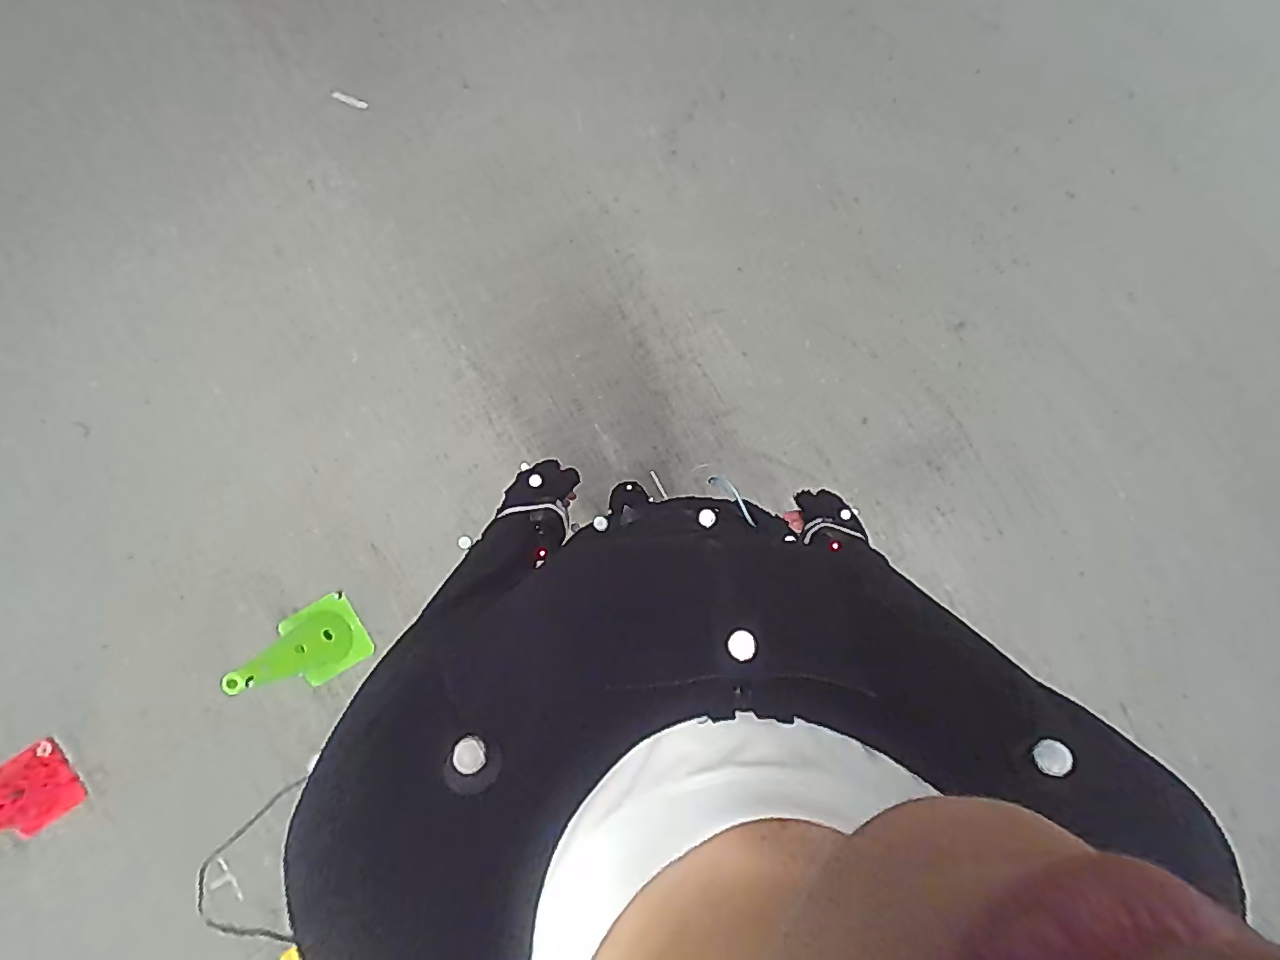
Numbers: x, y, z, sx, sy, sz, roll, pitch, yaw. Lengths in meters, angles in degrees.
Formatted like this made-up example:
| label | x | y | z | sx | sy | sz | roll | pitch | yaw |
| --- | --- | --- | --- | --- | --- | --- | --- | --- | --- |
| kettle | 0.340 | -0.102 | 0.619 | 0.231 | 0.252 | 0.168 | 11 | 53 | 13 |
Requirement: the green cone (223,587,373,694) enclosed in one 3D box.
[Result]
| label | x | y | z | sx | sy | sz | roll | pitch | yaw |
| --- | --- | --- | --- | --- | --- | --- | --- | --- | --- |
| green cone | -0.844 | 0.414 | 1.283 | 0.200 | 0.368 | 0.202 | -31 | 91 | -1 |

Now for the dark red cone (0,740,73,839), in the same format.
| label | x | y | z | sx | sy | sz | roll | pitch | yaw |
| --- | --- | --- | --- | --- | --- | --- | --- | --- | --- |
| dark red cone | -1.597 | 0.800 | 1.239 | 0.201 | 0.394 | 0.202 | -35 | 90 | 0 |
